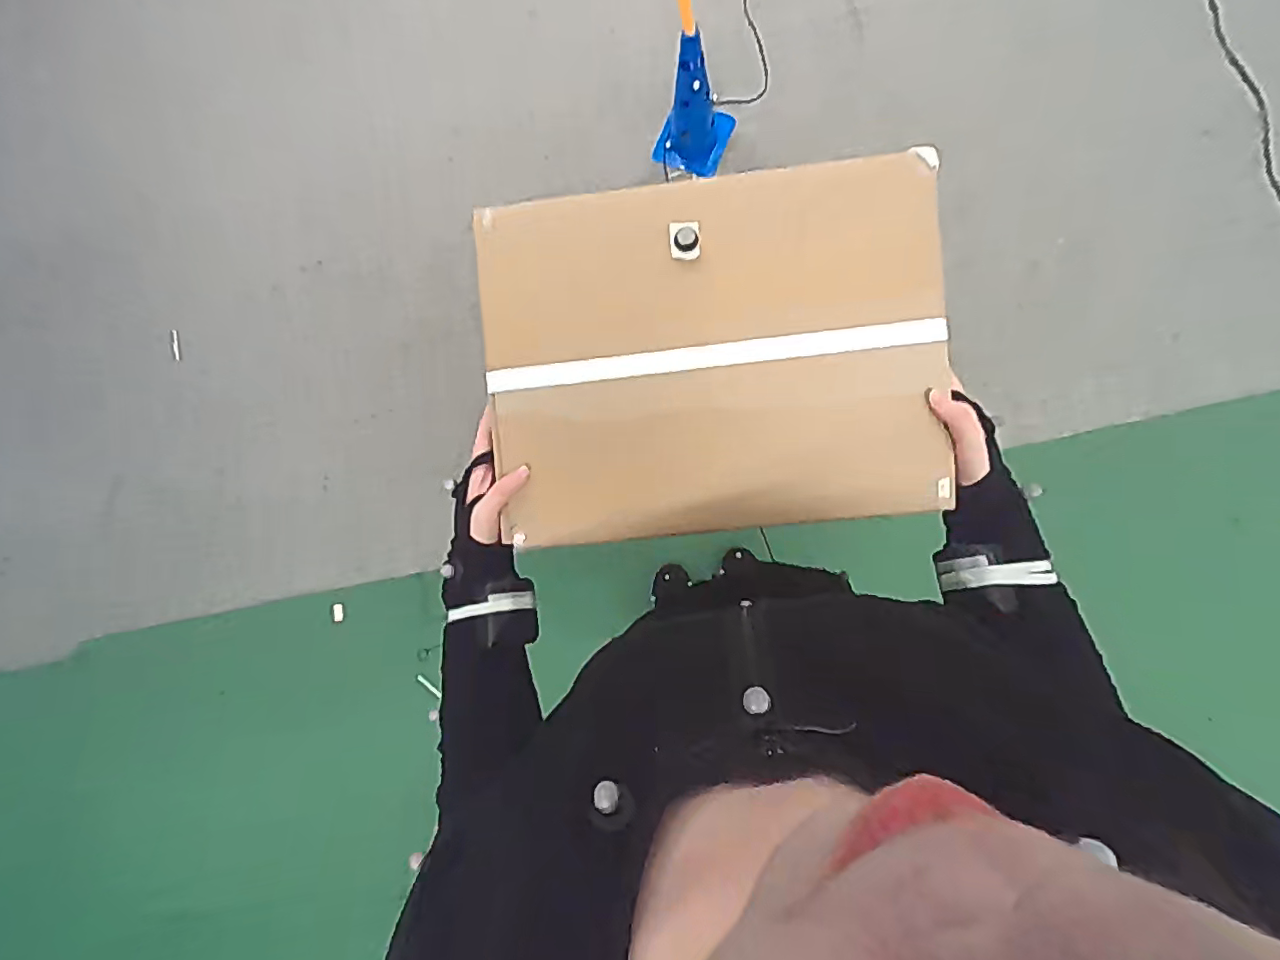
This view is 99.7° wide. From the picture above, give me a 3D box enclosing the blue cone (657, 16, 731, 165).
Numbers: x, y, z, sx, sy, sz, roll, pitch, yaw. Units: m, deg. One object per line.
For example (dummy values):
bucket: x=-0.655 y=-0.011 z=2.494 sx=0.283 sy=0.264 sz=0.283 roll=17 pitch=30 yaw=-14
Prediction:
blue cone: x=0.135 y=-1.027 z=1.412 sx=0.192 sy=0.380 sz=0.193 roll=21 pitch=90 yaw=8
